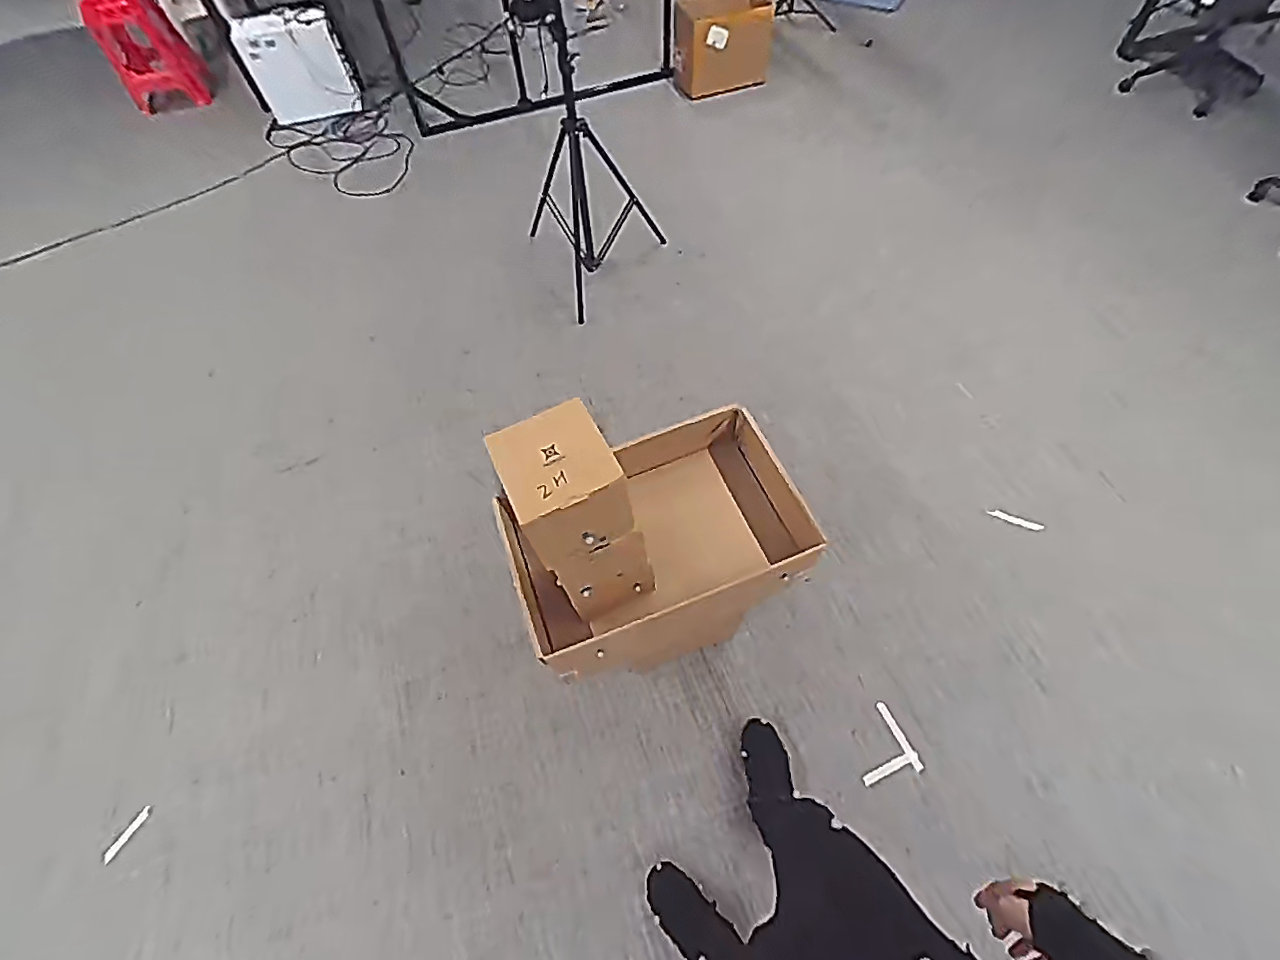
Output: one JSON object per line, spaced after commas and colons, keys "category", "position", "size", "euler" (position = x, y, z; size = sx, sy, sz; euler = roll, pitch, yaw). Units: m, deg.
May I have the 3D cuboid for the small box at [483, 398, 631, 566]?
{"category": "small box", "position": [-0.127, 0.008, 0.867], "size": [0.168, 0.176, 0.179], "euler": [-25, 60, -10]}

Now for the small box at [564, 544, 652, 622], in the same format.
{"category": "small box", "position": [-0.085, 0.175, 1.148], "size": [0.179, 0.176, 0.168], "euler": [-25, 61, -9]}

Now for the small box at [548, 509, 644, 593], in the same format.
{"category": "small box", "position": [-0.101, 0.092, 1.008], "size": [0.168, 0.176, 0.179], "euler": [-24, 60, -9]}
